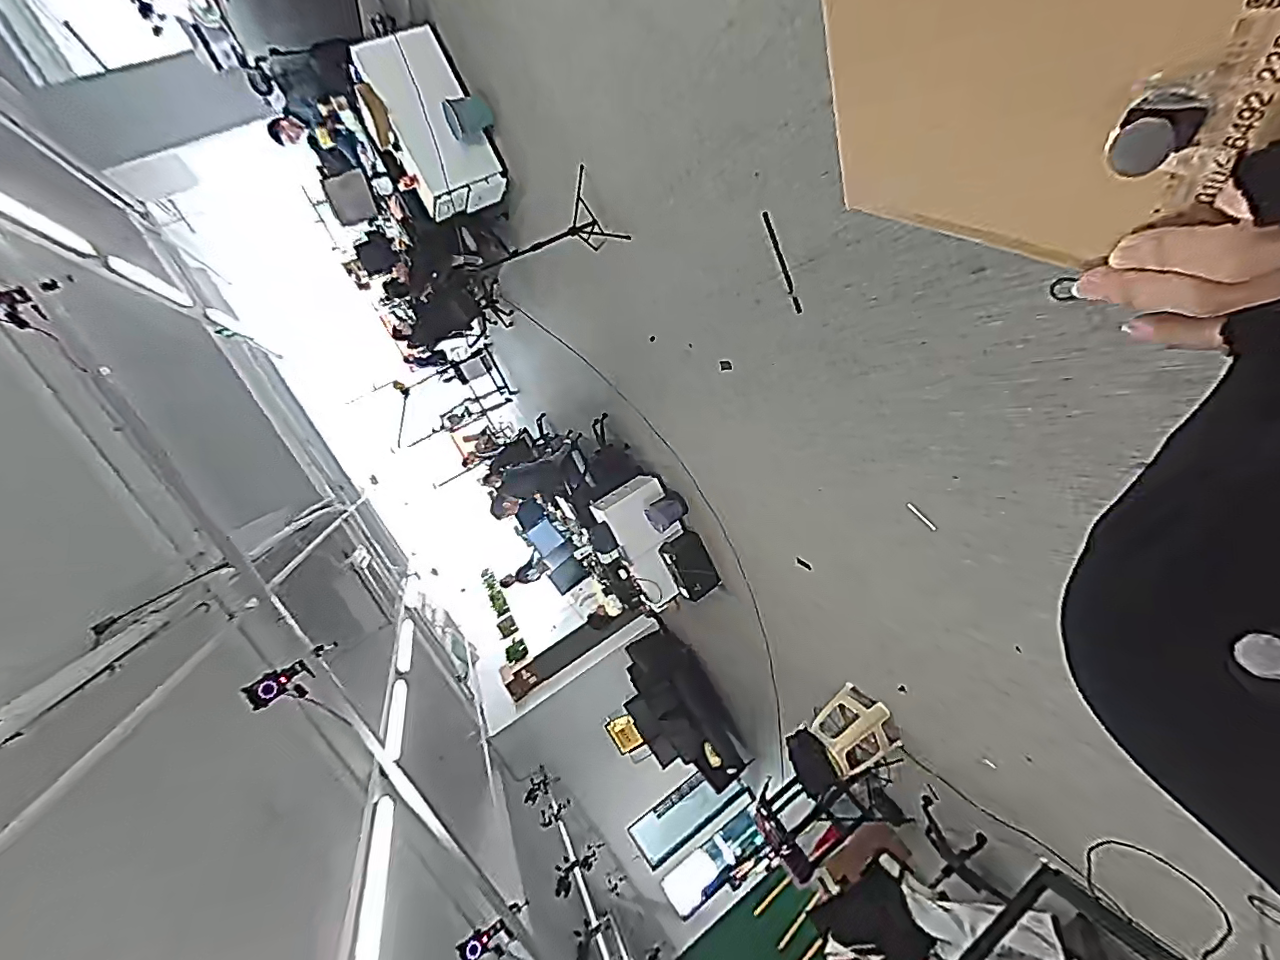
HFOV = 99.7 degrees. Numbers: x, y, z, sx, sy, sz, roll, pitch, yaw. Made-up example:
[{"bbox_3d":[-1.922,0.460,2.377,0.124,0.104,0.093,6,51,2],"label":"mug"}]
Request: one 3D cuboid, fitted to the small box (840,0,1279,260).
[{"bbox_3d":[0.197,-0.212,0.191,0.176,0.179,0.168,41,177,37],"label":"small box"}]
